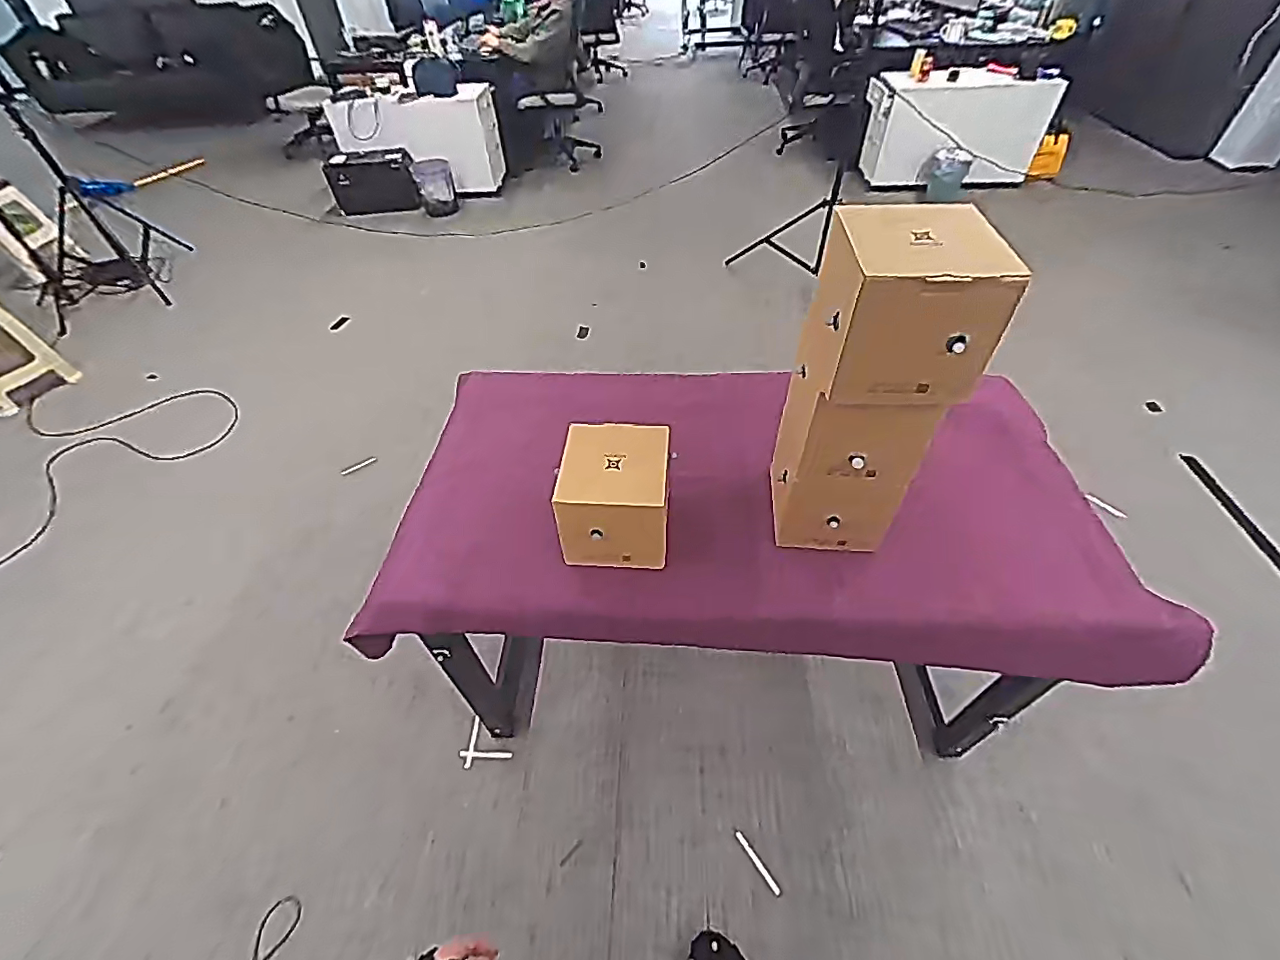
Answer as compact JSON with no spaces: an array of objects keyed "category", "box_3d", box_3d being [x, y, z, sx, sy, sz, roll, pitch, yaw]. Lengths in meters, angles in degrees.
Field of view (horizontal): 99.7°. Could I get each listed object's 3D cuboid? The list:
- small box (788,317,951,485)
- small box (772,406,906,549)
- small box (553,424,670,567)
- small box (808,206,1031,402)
[{"category":"small box","box_3d":[0.316,-0.115,0.784,0.168,0.176,0.179,3,49,5]},{"category":"small box","box_3d":[0.318,-0.002,0.903,0.168,0.176,0.179,3,48,5]},{"category":"small box","box_3d":[-0.037,0.028,0.892,0.168,0.176,0.179,2,47,4]},{"category":"small box","box_3d":[0.311,-0.208,0.649,0.168,0.176,0.179,1,47,2]}]
